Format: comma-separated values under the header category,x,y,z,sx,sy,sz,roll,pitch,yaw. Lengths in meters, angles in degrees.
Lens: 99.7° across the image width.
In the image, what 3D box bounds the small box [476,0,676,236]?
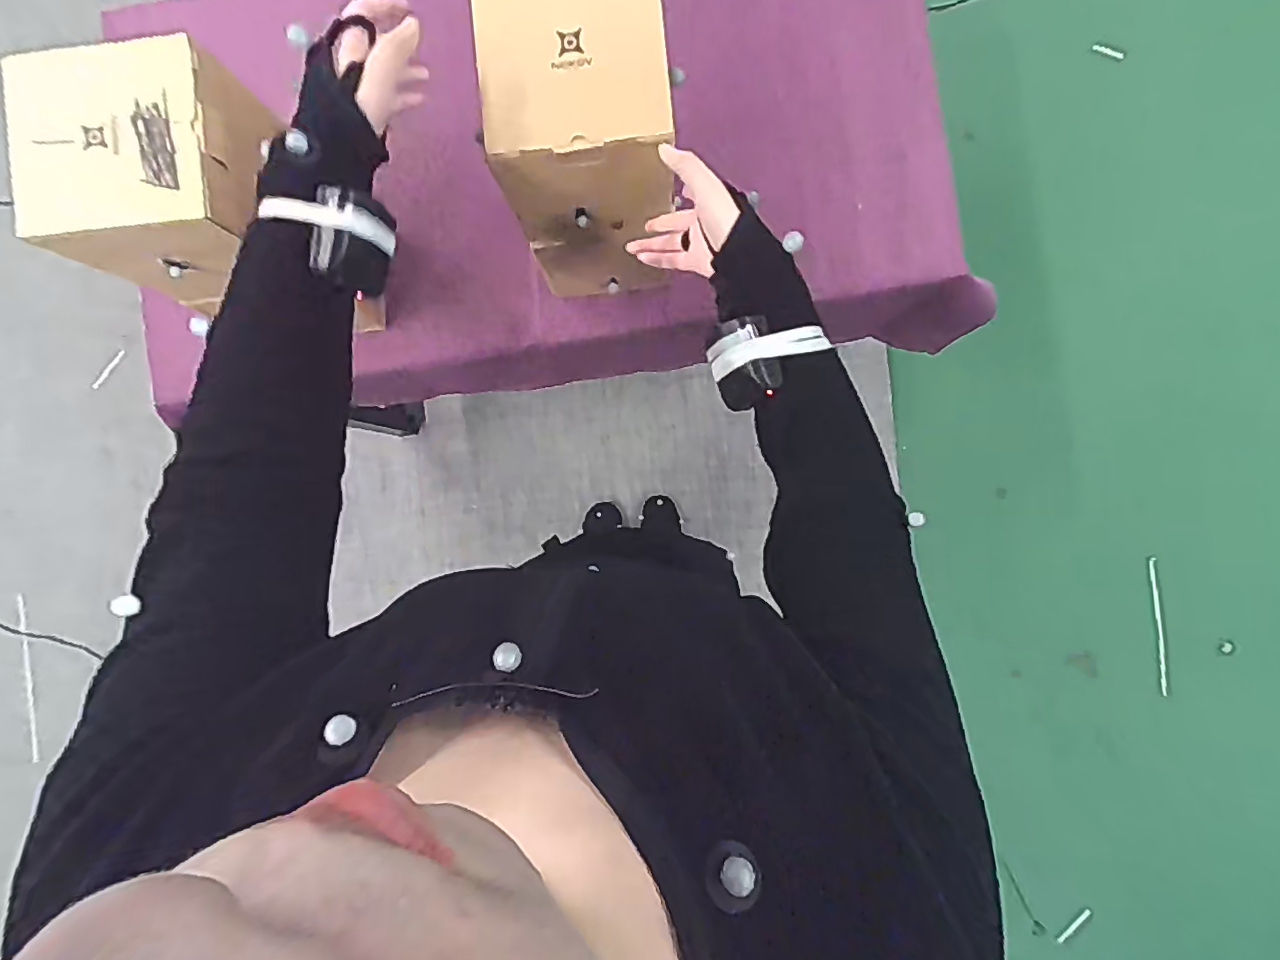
category,x,y,z,sx,sy,sz,roll,pitch,yaw
small box,-0.056,-0.375,0.547,0.168,0.176,0.179,-6,91,2

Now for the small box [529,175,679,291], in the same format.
category,x,y,z,sx,sy,sz,roll,pitch,yaw
small box,-0.048,-0.363,0.710,0.179,0.176,0.168,-6,89,1

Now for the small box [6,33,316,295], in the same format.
category,x,y,z,sx,sy,sz,roll,pitch,yaw
small box,-0.464,-0.304,0.557,0.179,0.176,0.168,-6,90,2

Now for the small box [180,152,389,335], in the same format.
category,x,y,z,sx,sy,sz,roll,pitch,yaw
small box,-0.465,-0.300,0.721,0.179,0.176,0.168,-5,90,1
